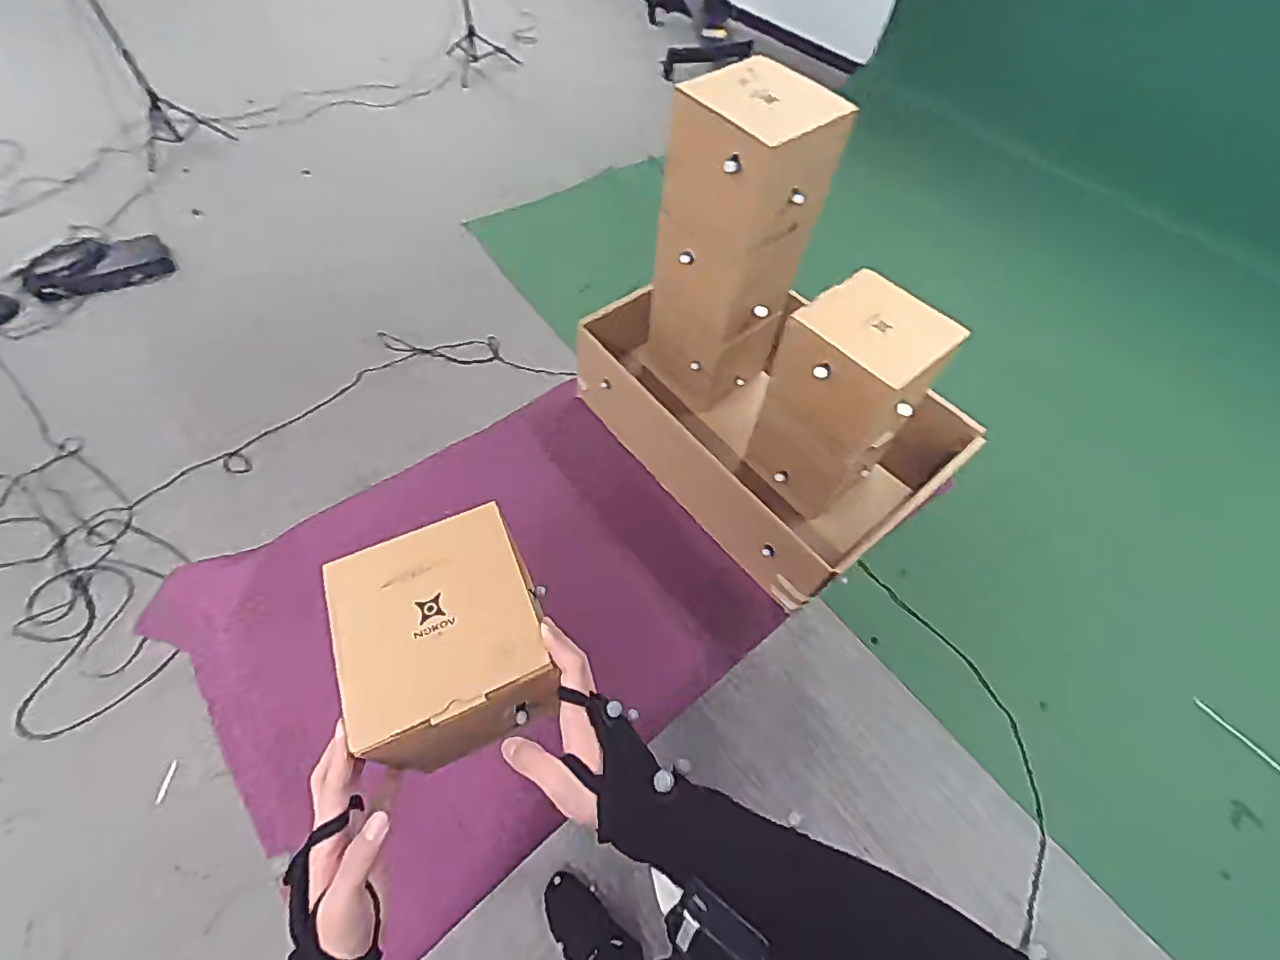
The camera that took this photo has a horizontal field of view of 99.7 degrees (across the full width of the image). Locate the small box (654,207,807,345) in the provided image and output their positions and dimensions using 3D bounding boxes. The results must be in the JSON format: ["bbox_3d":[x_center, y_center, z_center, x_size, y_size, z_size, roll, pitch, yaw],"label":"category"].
[{"bbox_3d":[0.138,-0.360,0.900,0.168,0.176,0.179,-36,68,-21],"label":"small box"}]

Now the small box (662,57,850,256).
[{"bbox_3d":[0.149,-0.443,0.758,0.168,0.176,0.179,-34,67,-22],"label":"small box"}]

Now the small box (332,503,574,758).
[{"bbox_3d":[-0.174,0.157,0.540,0.168,0.176,0.179,-21,60,-13],"label":"small box"}]

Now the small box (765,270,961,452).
[{"bbox_3d":[0.311,-0.163,0.791,0.168,0.176,0.179,-35,64,-21],"label":"small box"}]
